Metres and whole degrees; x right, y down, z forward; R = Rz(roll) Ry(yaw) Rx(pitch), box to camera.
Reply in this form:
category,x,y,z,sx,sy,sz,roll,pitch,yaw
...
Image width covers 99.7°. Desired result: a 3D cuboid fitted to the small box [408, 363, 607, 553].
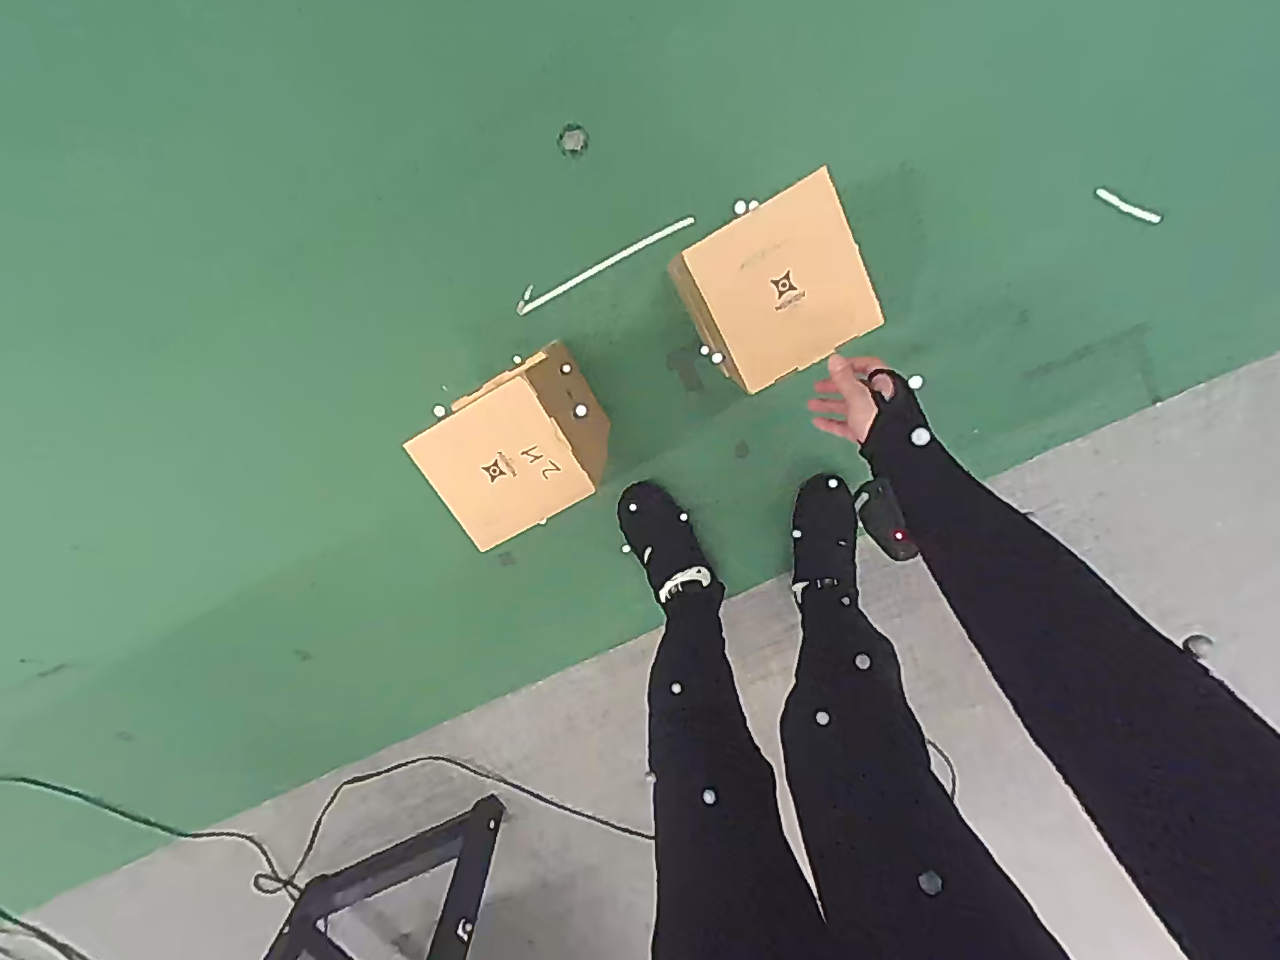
category,x,y,z,sx,sy,sz,roll,pitch,yaw
small box,-0.160,-0.037,0.719,0.179,0.176,0.168,-28,106,10

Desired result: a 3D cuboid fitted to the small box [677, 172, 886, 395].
category,x,y,z,sx,sy,sz,roll,pitch,yaw
small box,0.157,-0.229,0.649,0.168,0.176,0.179,-28,107,9

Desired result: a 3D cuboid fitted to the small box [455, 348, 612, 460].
category,x,y,z,sx,sy,sz,roll,pitch,yaw
small box,-0.157,-0.095,0.873,0.168,0.176,0.179,-28,106,10
